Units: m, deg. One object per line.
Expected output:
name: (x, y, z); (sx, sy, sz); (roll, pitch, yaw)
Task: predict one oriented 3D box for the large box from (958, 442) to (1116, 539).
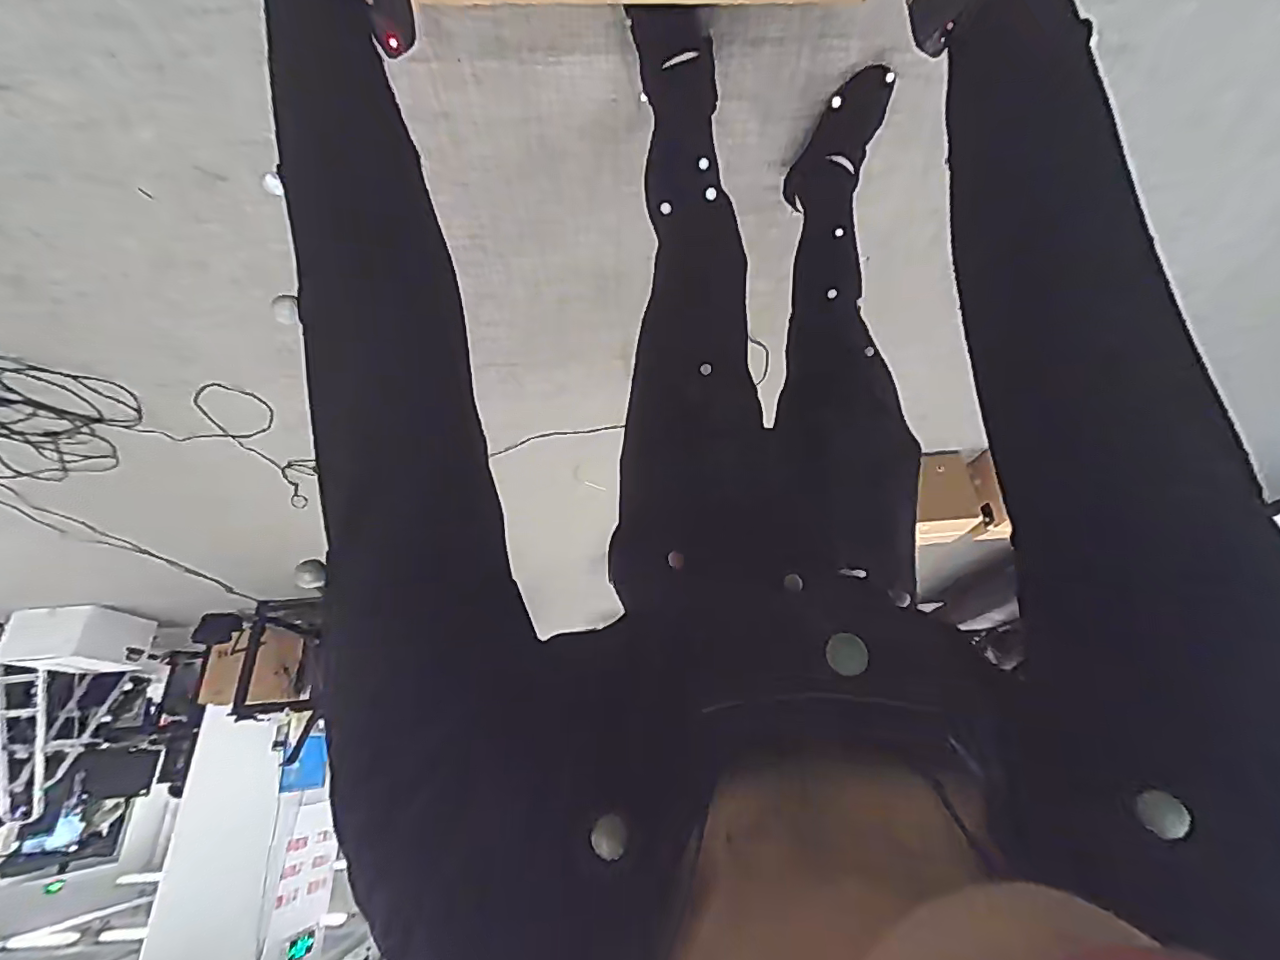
large box: (1.704, 0.050, 2.363); (0.408, 0.320, 0.320); (-4, 155, -2)
